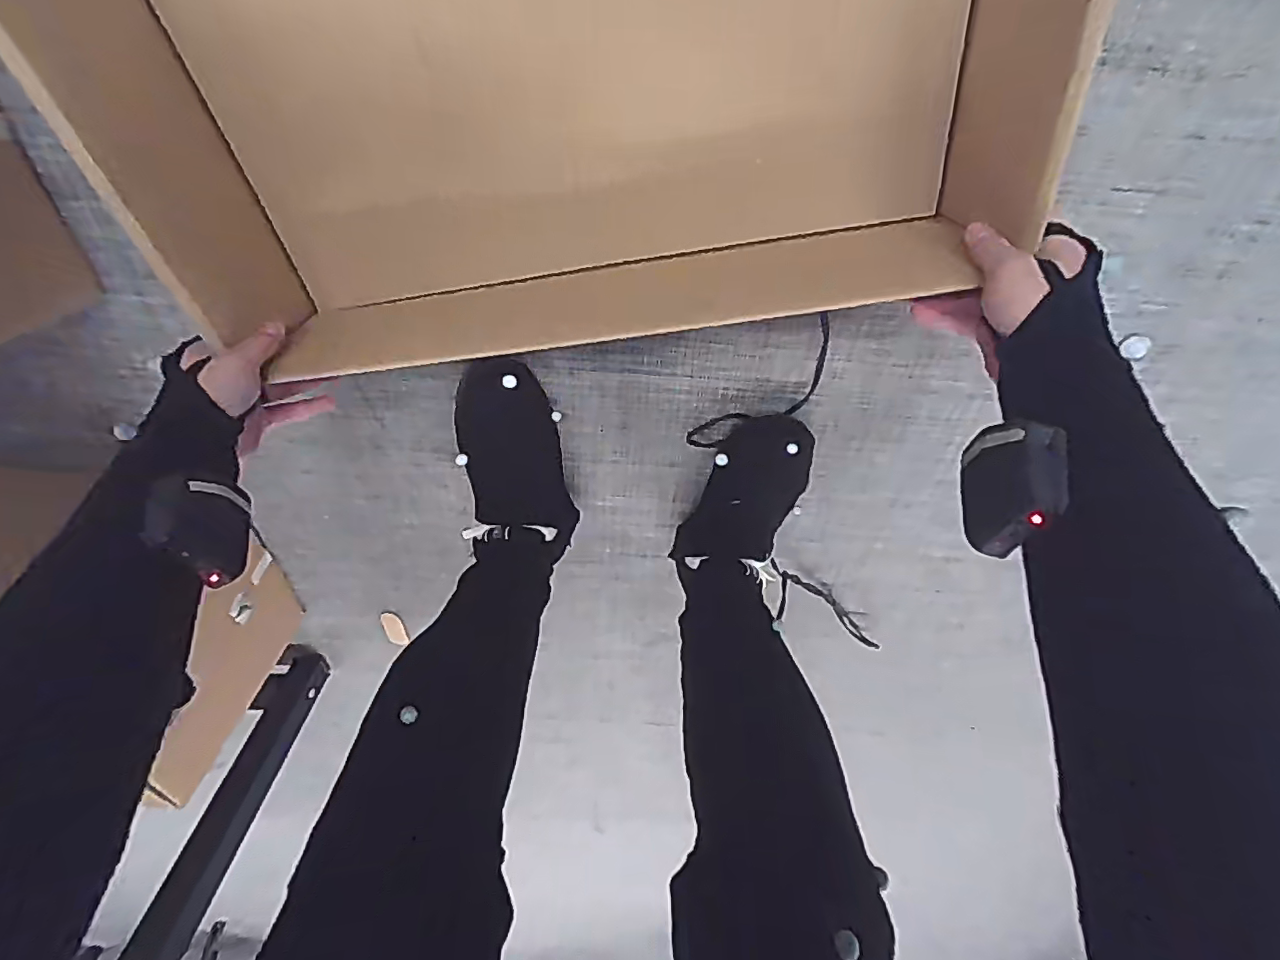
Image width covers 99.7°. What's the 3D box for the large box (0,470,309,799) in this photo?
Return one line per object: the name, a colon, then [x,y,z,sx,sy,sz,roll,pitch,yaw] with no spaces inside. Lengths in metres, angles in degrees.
large box: [-0.767,0.196,0.726,0.408,0.320,0.320,2,128,2]
